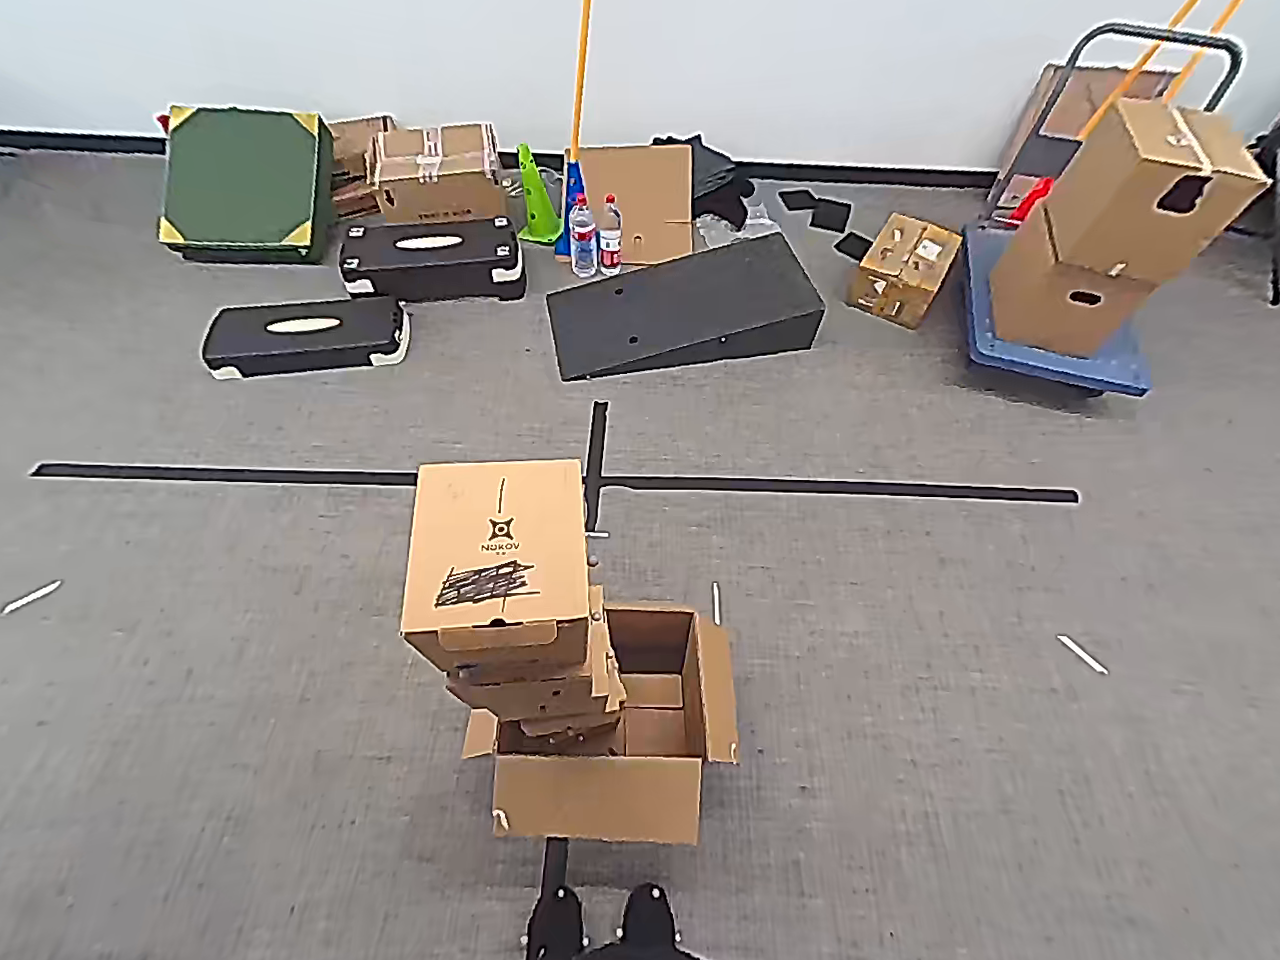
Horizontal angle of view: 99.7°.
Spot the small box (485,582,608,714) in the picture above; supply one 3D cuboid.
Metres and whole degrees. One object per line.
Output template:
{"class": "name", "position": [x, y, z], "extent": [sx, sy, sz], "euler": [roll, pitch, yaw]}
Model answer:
{"class": "small box", "position": [-0.143, 0.272, 0.864], "extent": [0.179, 0.176, 0.168], "euler": [-2, 61, -7]}

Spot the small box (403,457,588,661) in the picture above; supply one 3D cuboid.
{"class": "small box", "position": [-0.141, 0.093, 0.589], "extent": [0.168, 0.176, 0.179], "euler": [-2, 60, -8]}

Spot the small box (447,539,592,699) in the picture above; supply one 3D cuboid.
{"class": "small box", "position": [-0.147, 0.191, 0.722], "extent": [0.168, 0.176, 0.179], "euler": [-1, 60, -7]}

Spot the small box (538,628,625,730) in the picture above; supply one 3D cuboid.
{"class": "small box", "position": [-0.140, 0.420, 1.159], "extent": [0.179, 0.176, 0.168], "euler": [-14, 62, -14]}
